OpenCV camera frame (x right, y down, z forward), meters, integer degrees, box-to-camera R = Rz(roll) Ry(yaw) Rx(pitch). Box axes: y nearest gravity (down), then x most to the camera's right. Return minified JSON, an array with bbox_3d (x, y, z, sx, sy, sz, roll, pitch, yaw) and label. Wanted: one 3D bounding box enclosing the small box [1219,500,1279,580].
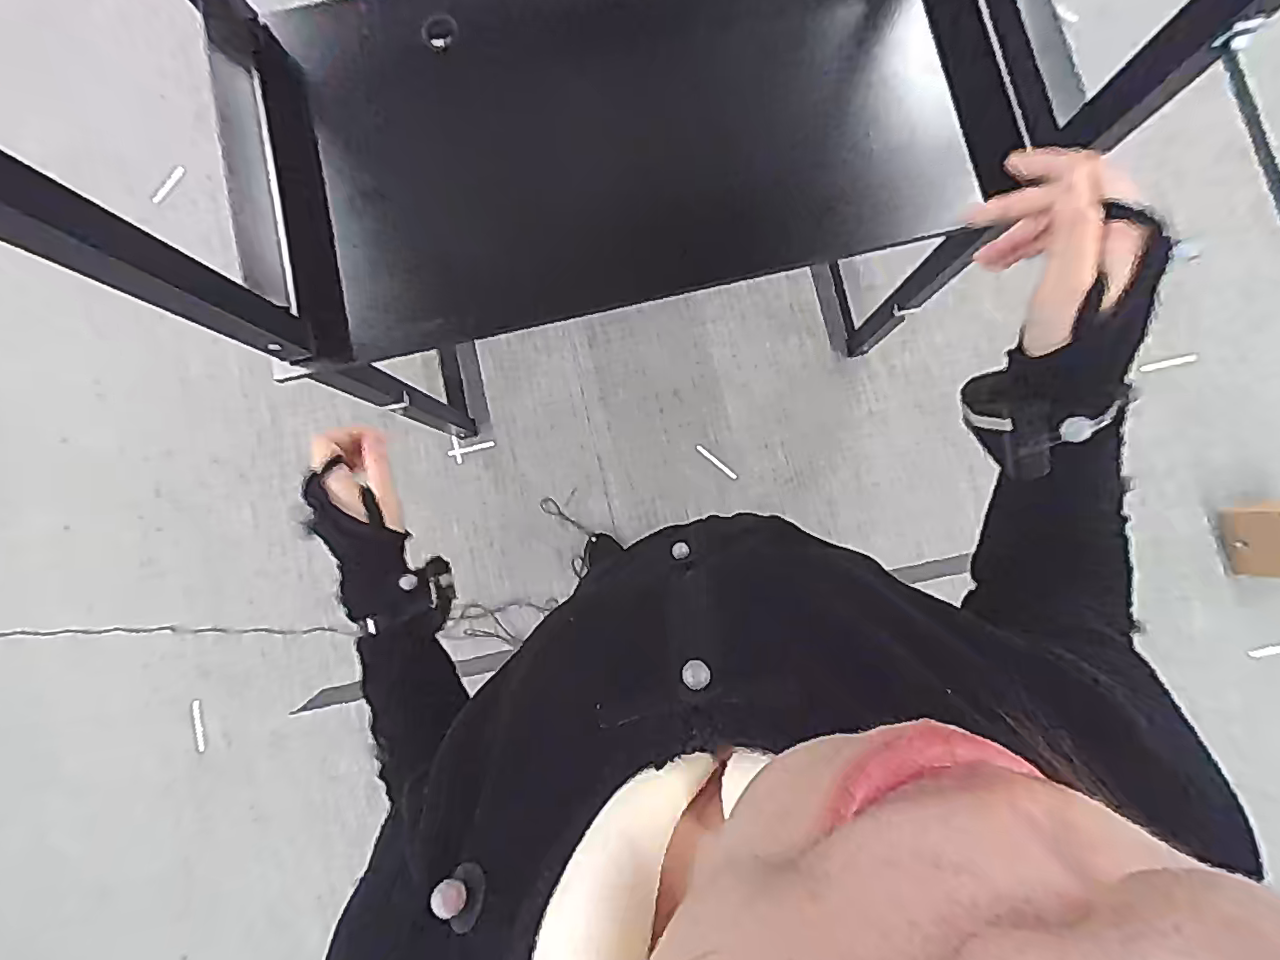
[{"bbox_3d":[1.636,0.149,1.356,0.168,0.176,0.179,-13,86,1],"label":"small box"}]
